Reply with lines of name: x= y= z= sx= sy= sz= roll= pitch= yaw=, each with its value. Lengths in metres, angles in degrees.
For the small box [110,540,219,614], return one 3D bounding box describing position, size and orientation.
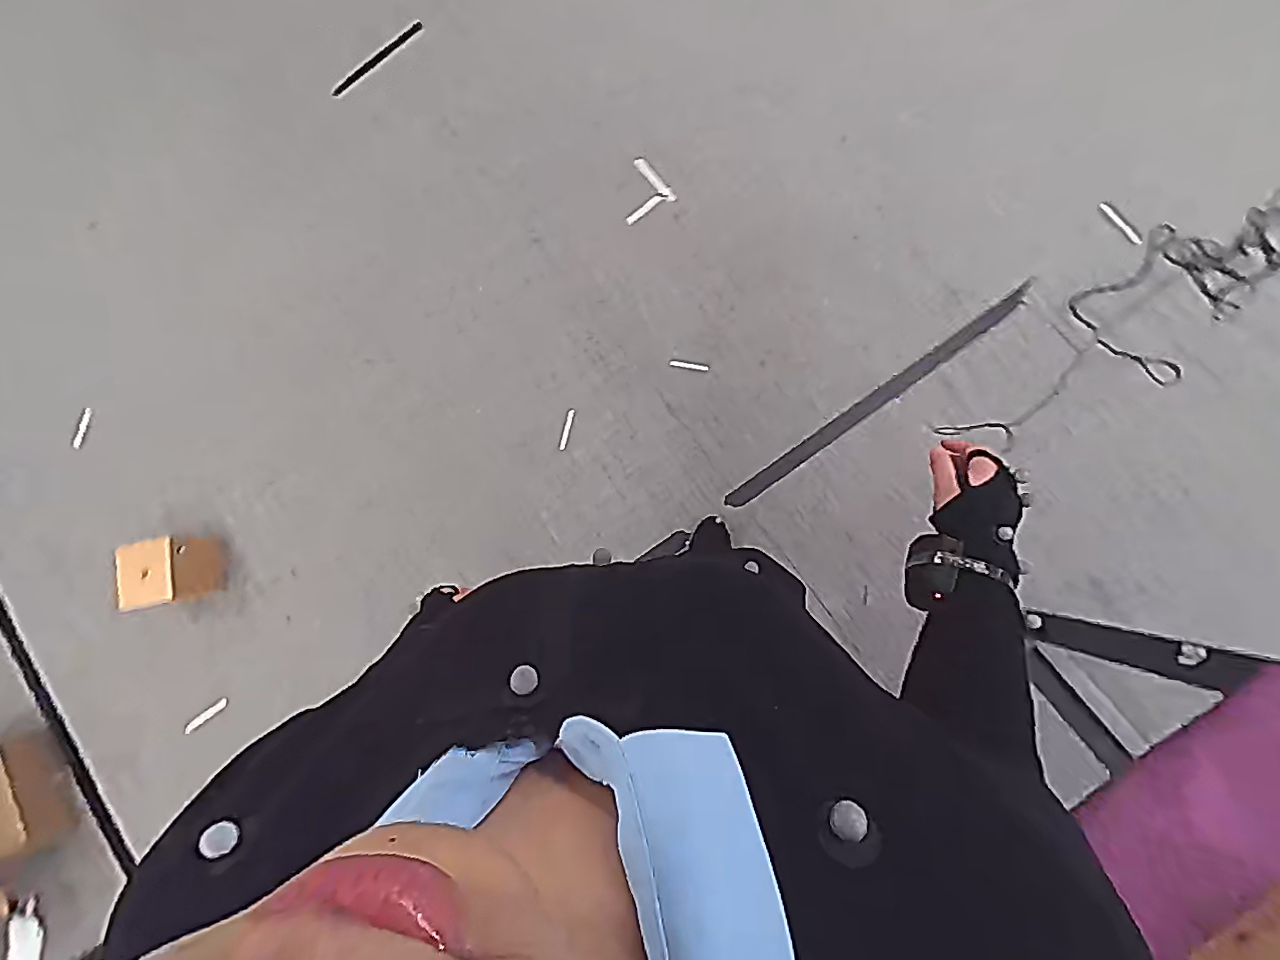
small box: x=-1.354 y=0.272 z=1.550 sx=0.168 sy=0.176 sz=0.179 roll=-12 pitch=82 yaw=5
